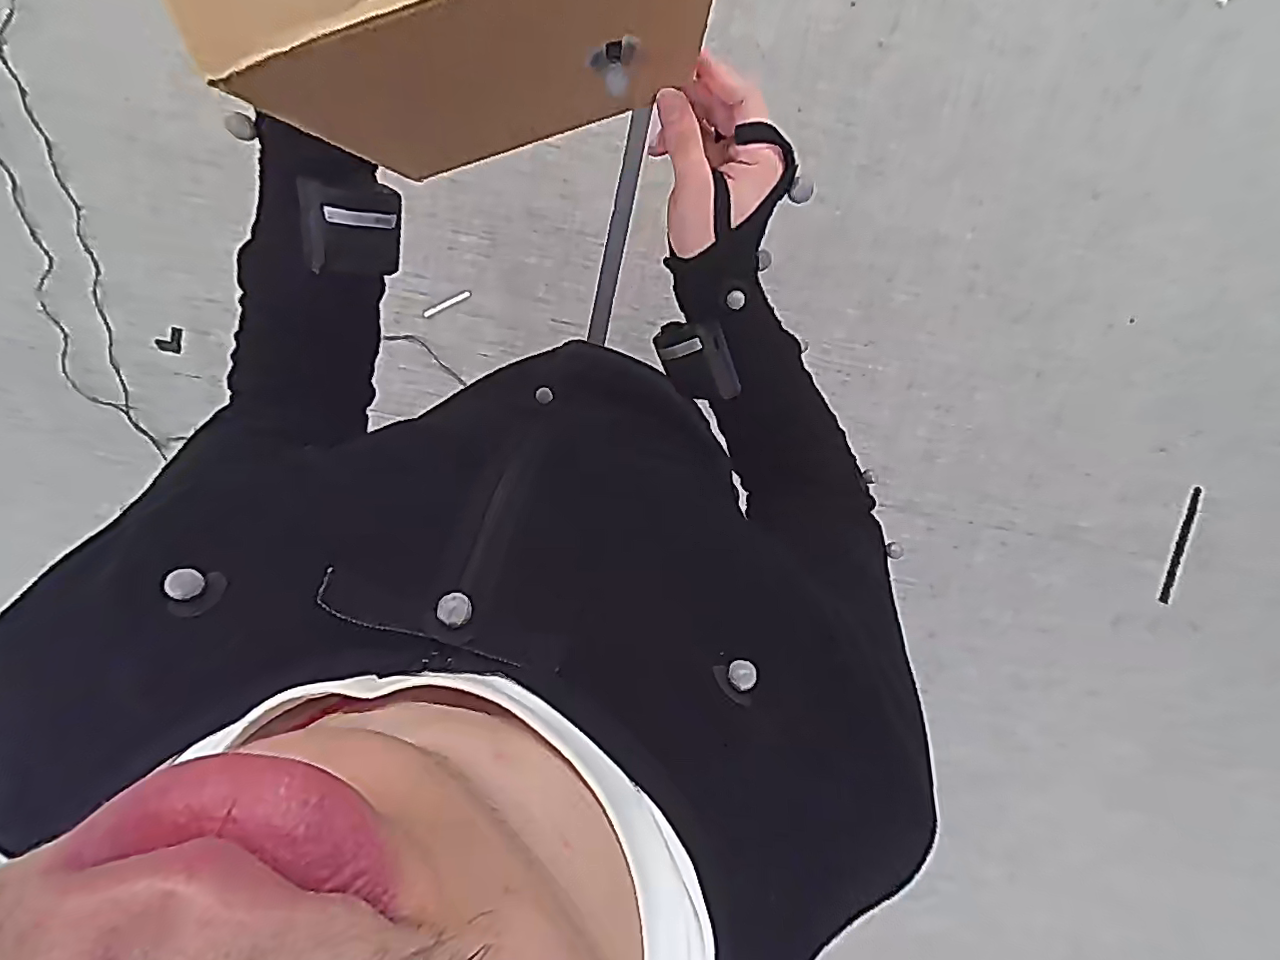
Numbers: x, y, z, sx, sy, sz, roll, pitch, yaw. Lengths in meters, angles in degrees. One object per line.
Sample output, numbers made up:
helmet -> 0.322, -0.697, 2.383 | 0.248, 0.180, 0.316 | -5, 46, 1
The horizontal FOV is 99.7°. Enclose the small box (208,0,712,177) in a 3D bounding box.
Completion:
small box -> -0.071, -0.253, 0.226 | 0.179, 0.176, 0.168 | -15, 107, 6
